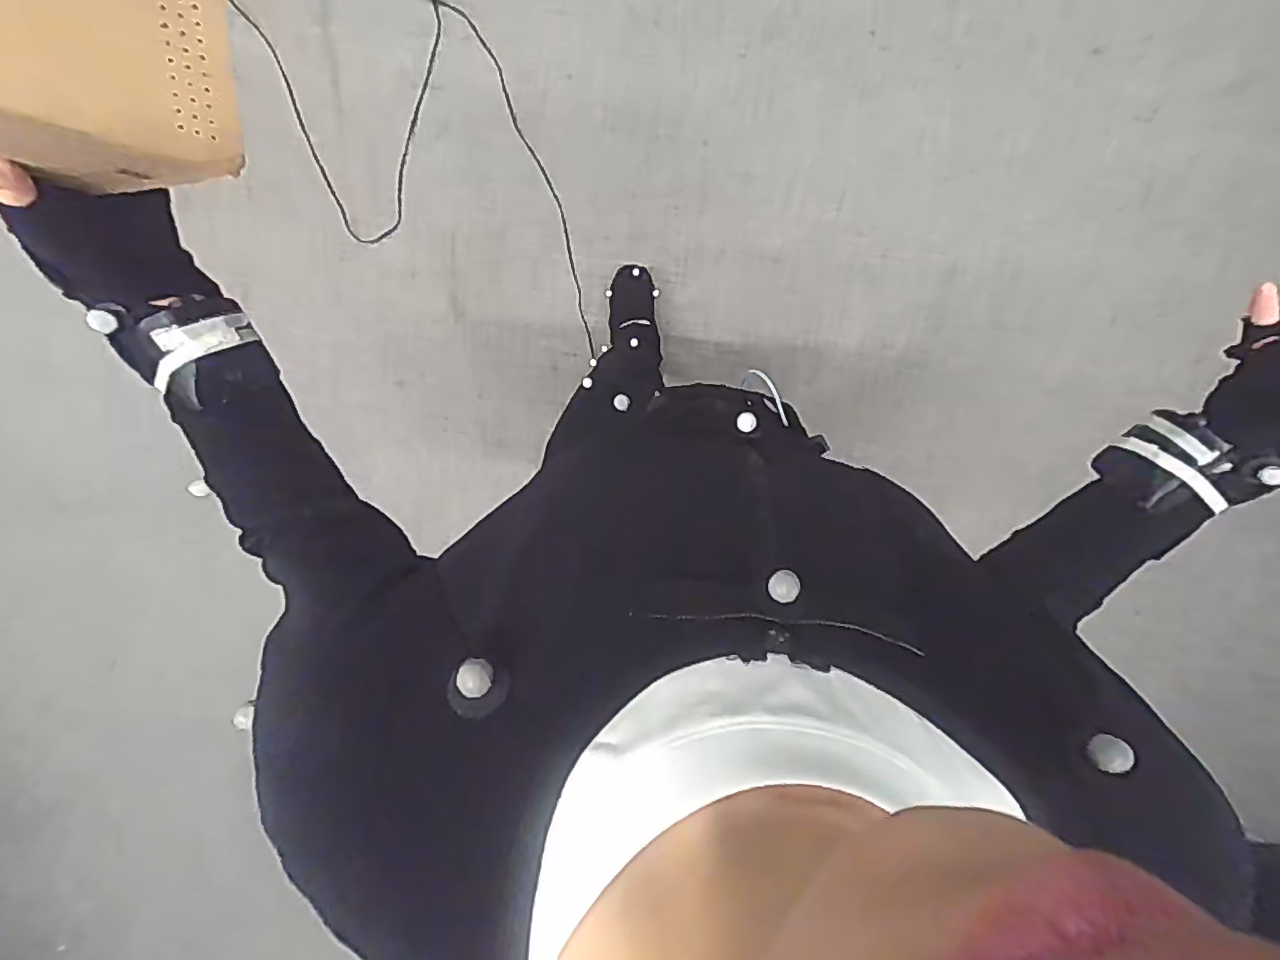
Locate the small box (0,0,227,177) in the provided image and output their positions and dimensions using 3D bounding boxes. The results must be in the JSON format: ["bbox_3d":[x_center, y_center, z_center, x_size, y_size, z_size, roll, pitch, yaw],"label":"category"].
[{"bbox_3d":[-0.292,-0.231,0.193,0.168,0.176,0.179,11,107,23],"label":"small box"}]
